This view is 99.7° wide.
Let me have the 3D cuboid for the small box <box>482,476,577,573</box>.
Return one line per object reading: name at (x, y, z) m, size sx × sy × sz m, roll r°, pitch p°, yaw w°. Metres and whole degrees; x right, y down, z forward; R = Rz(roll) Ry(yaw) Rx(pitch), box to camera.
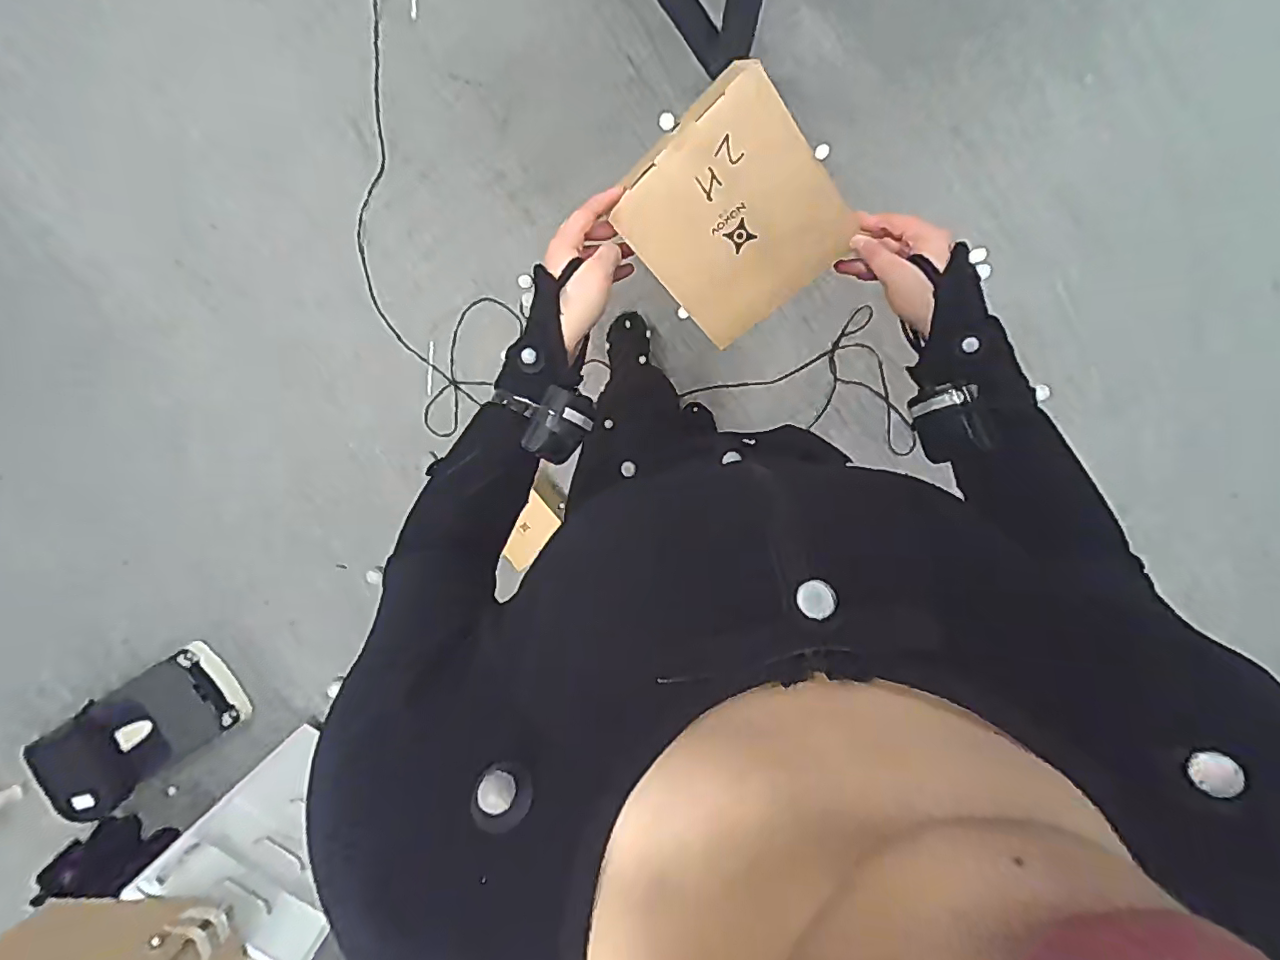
small box at (-0.285, 0.110, 1.444) m, size 0.179 × 0.176 × 0.168 m, roll -39°, pitch 96°, yaw 9°
